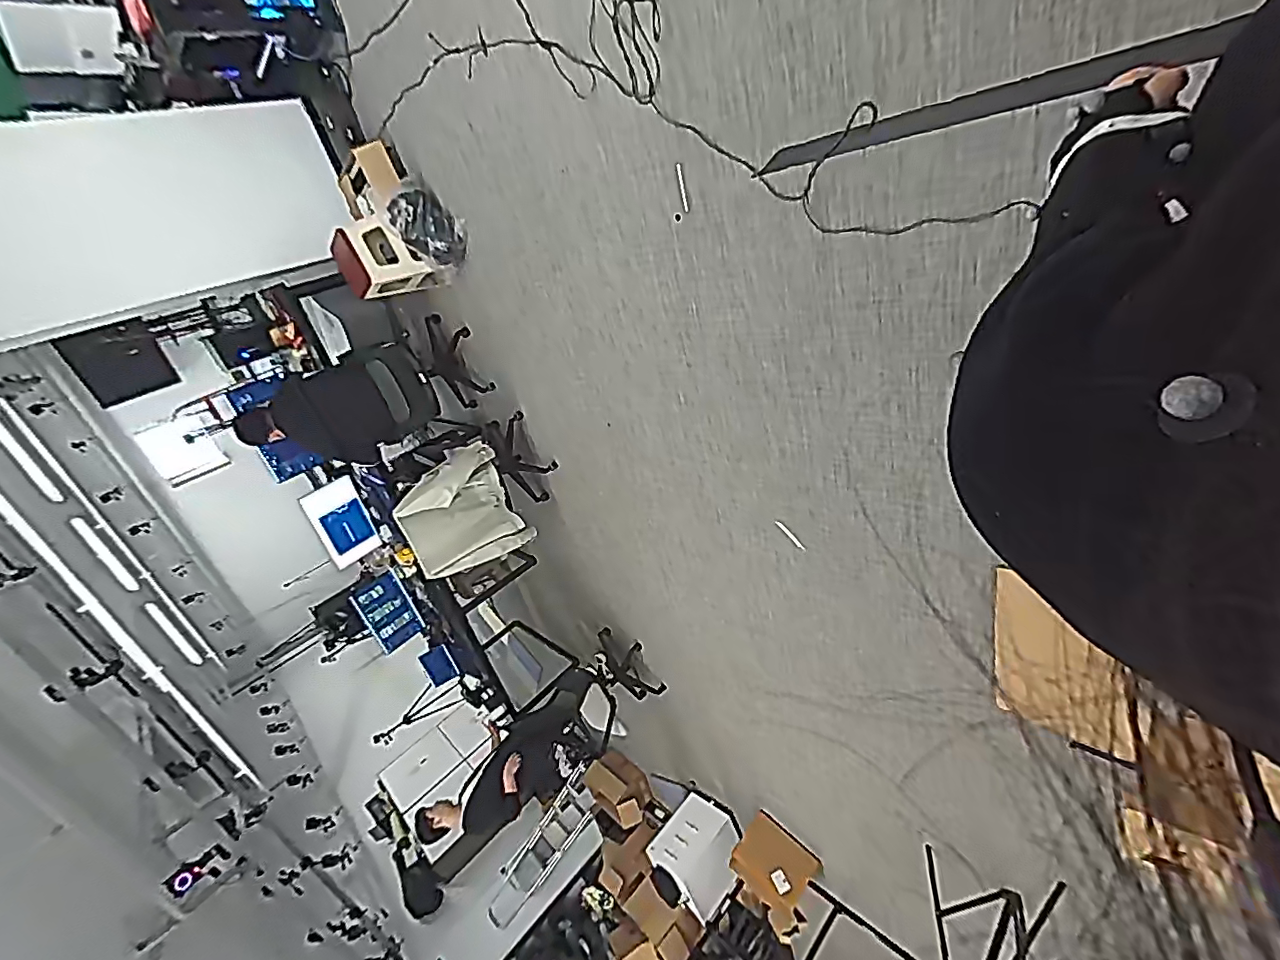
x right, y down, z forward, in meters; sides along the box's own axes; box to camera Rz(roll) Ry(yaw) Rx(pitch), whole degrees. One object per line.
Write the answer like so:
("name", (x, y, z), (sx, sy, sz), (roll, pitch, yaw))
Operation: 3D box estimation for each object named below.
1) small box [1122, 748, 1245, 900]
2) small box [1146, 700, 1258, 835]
("small box", (1.159, 0.725, 1.155), (0.168, 0.176, 0.179), (8, 124, 49))
("small box", (1.280, 0.647, 1.237), (0.168, 0.176, 0.179), (8, 126, 49))
